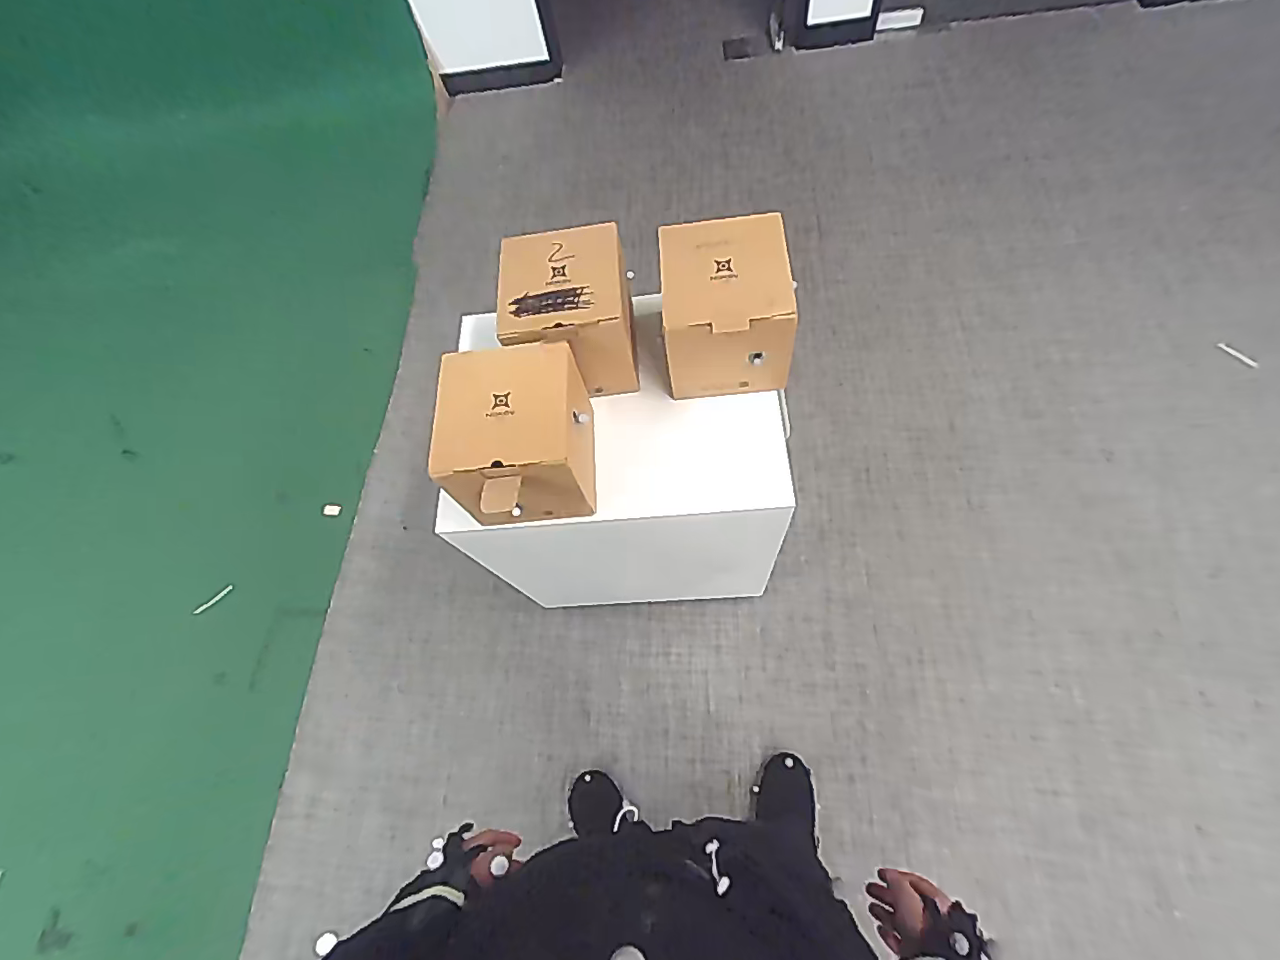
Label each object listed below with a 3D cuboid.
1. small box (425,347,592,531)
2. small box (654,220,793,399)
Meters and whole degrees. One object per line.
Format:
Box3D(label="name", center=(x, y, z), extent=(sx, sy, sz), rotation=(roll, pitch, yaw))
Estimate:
Box3D(label="small box", center=(-0.160, -0.048, 0.715), extent=(0.168, 0.176, 0.179), rotation=(-6, 64, 4))
Box3D(label="small box", center=(0.112, -0.227, 0.761), extent=(0.168, 0.176, 0.179), rotation=(-5, 65, 5))
